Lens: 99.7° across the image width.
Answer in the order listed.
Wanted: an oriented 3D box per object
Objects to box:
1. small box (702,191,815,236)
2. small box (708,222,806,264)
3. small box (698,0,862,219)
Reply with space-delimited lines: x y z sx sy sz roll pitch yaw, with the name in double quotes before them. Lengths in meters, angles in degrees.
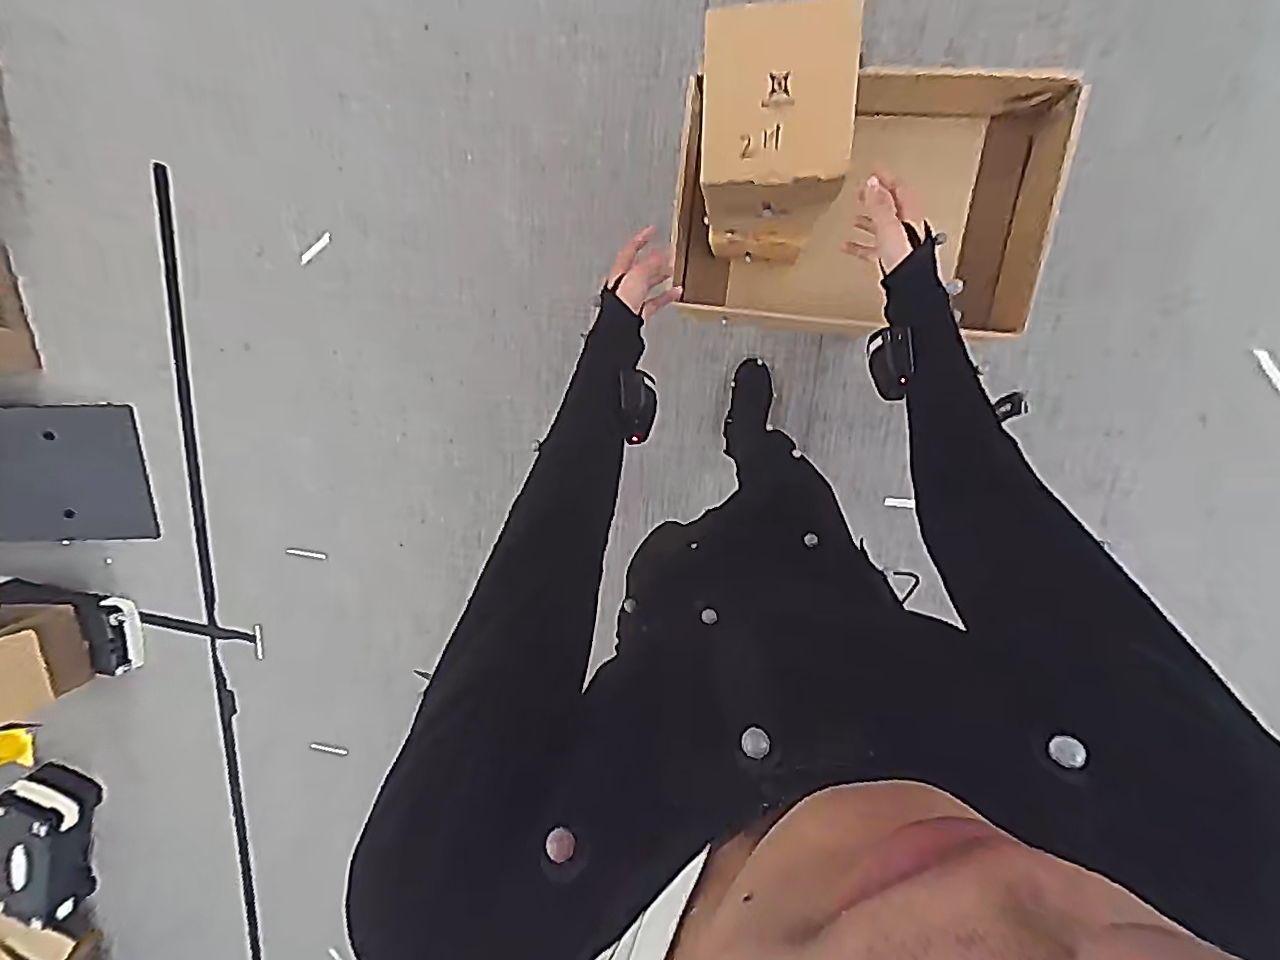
"small box" 0.191 -0.480 0.820 0.168 0.176 0.179 7 103 9
"small box" 0.217 -0.503 0.981 0.168 0.176 0.179 7 104 10
"small box" 0.161 -0.437 0.664 0.168 0.176 0.179 3 104 11
